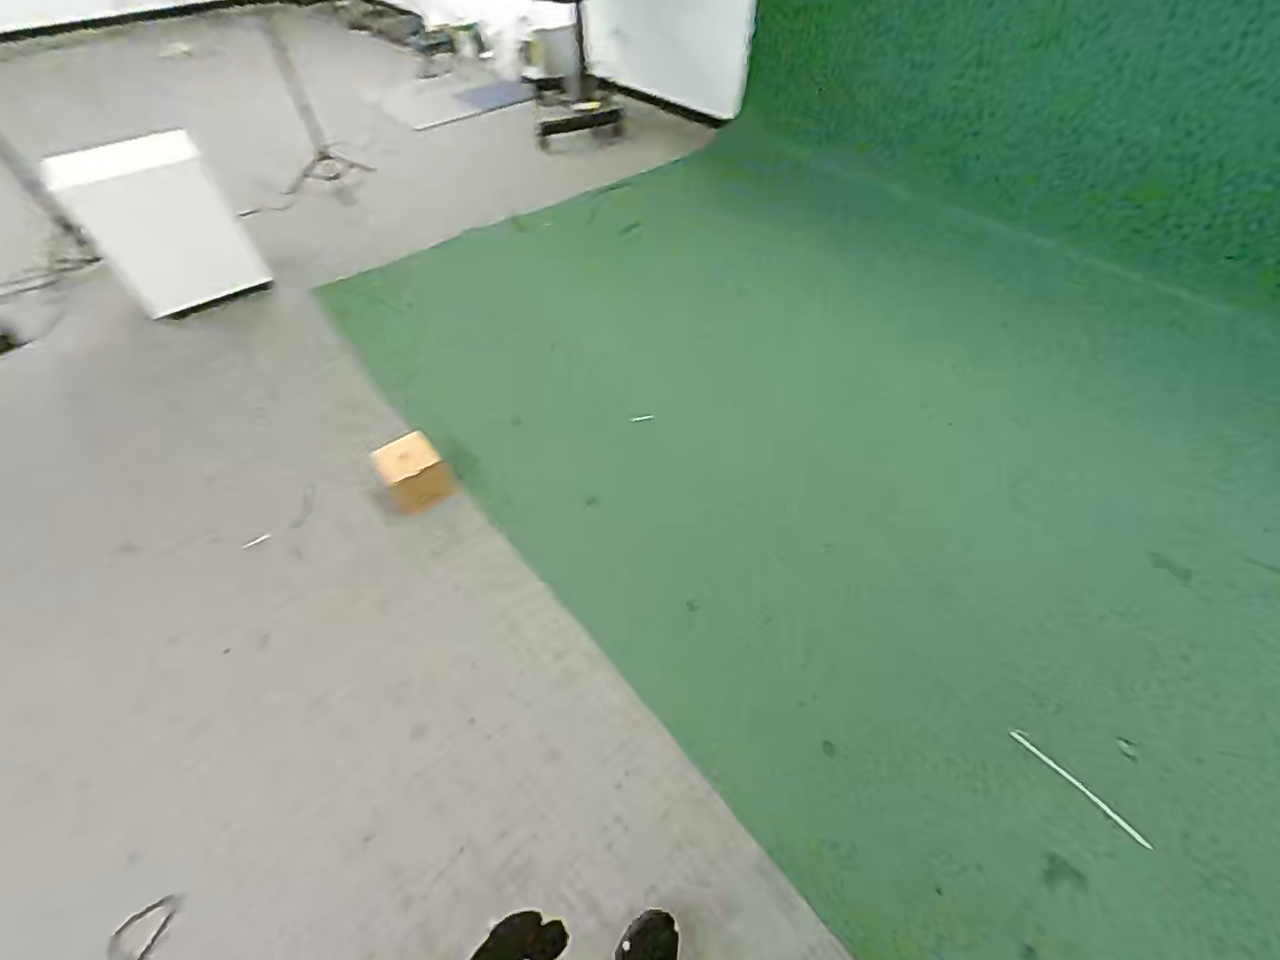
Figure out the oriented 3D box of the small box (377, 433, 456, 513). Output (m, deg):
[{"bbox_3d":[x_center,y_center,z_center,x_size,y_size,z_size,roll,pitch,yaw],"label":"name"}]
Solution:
[{"bbox_3d":[-0.751,-0.022,1.828,0.168,0.176,0.179,-33,58,-23],"label":"small box"}]
